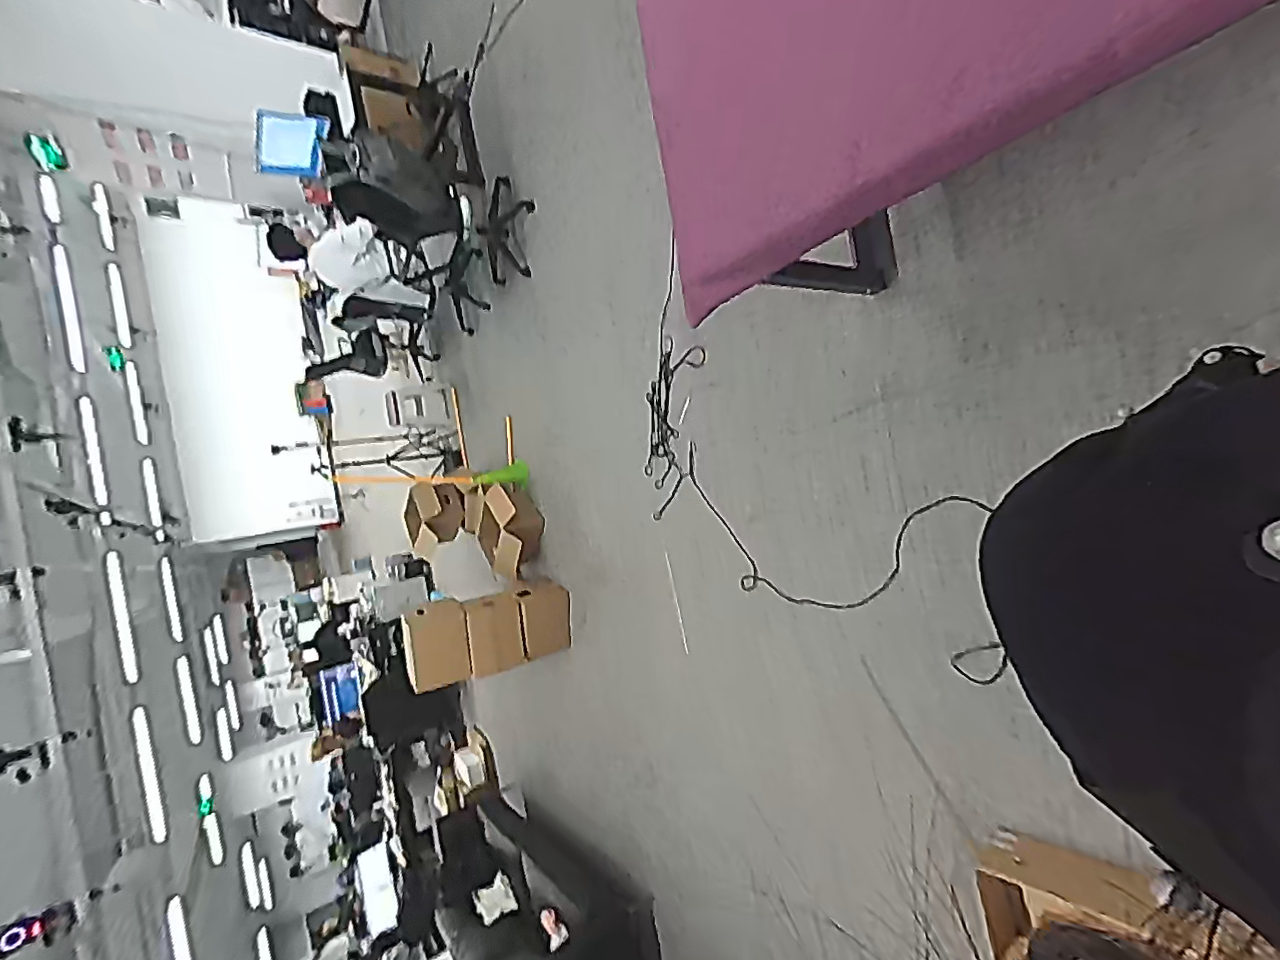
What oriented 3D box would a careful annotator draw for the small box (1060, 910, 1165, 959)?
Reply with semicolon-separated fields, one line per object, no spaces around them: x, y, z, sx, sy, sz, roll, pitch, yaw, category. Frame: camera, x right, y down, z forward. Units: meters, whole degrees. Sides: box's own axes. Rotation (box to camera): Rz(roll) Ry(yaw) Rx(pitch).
1.109;1.158;1.260;0.179;0.176;0.168;-27;75;54;small box

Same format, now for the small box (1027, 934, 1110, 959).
0.967;1.160;1.175;0.168;0.176;0.179;-20;82;54;small box
